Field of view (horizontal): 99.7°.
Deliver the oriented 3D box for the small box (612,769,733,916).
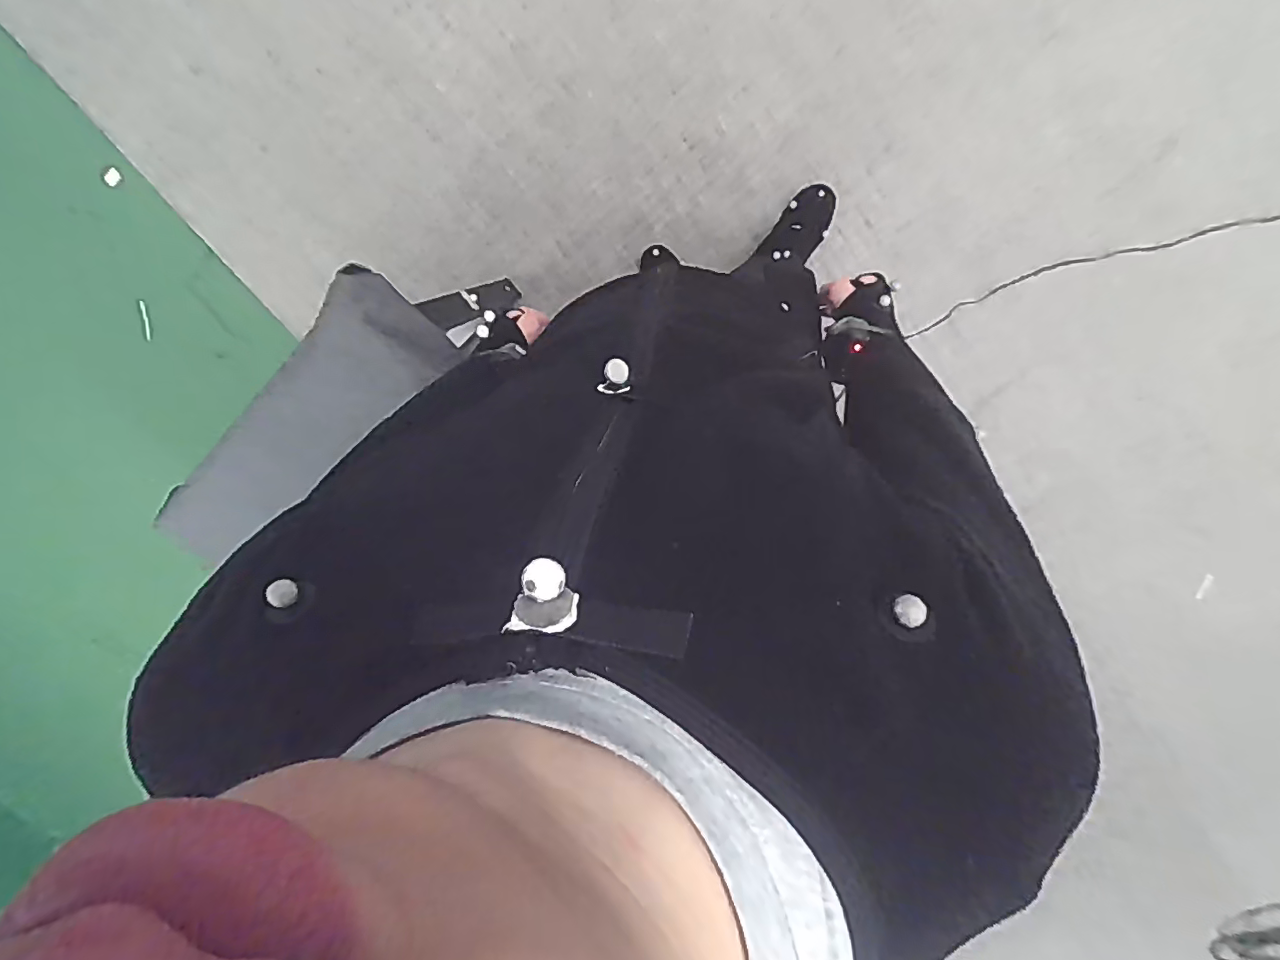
[{"bbox_3d":[0.066,0.729,1.099,0.179,0.176,0.168,-38,106,20],"label":"small box"}]
